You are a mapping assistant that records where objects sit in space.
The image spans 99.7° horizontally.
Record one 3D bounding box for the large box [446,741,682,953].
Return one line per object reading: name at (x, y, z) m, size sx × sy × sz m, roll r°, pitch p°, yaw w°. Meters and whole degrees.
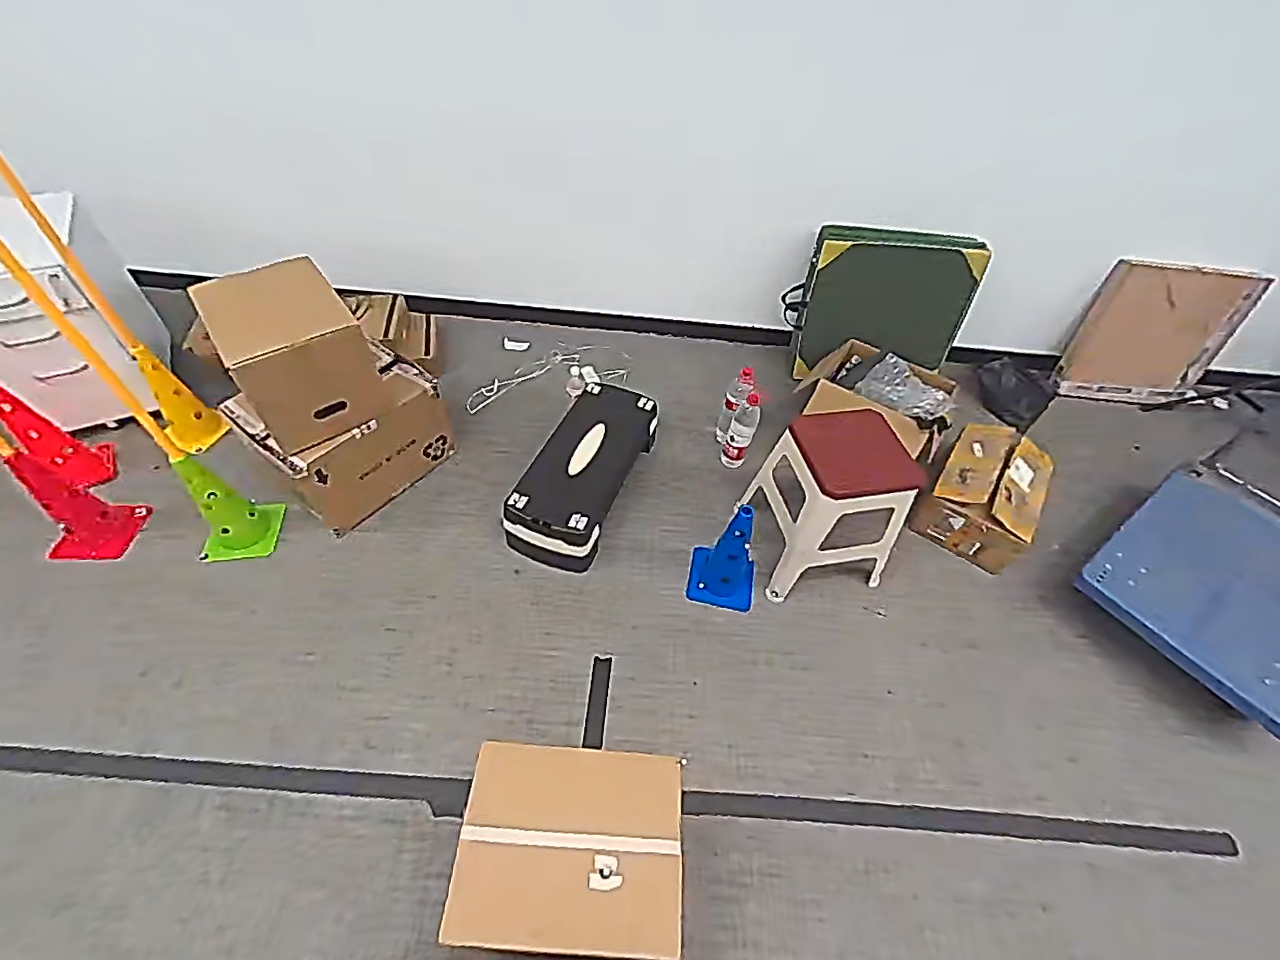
large box at (-0.136, 0.754, 1.108) m, size 0.408 × 0.320 × 0.320 m, roll 6°, pitch 50°, yaw -2°
